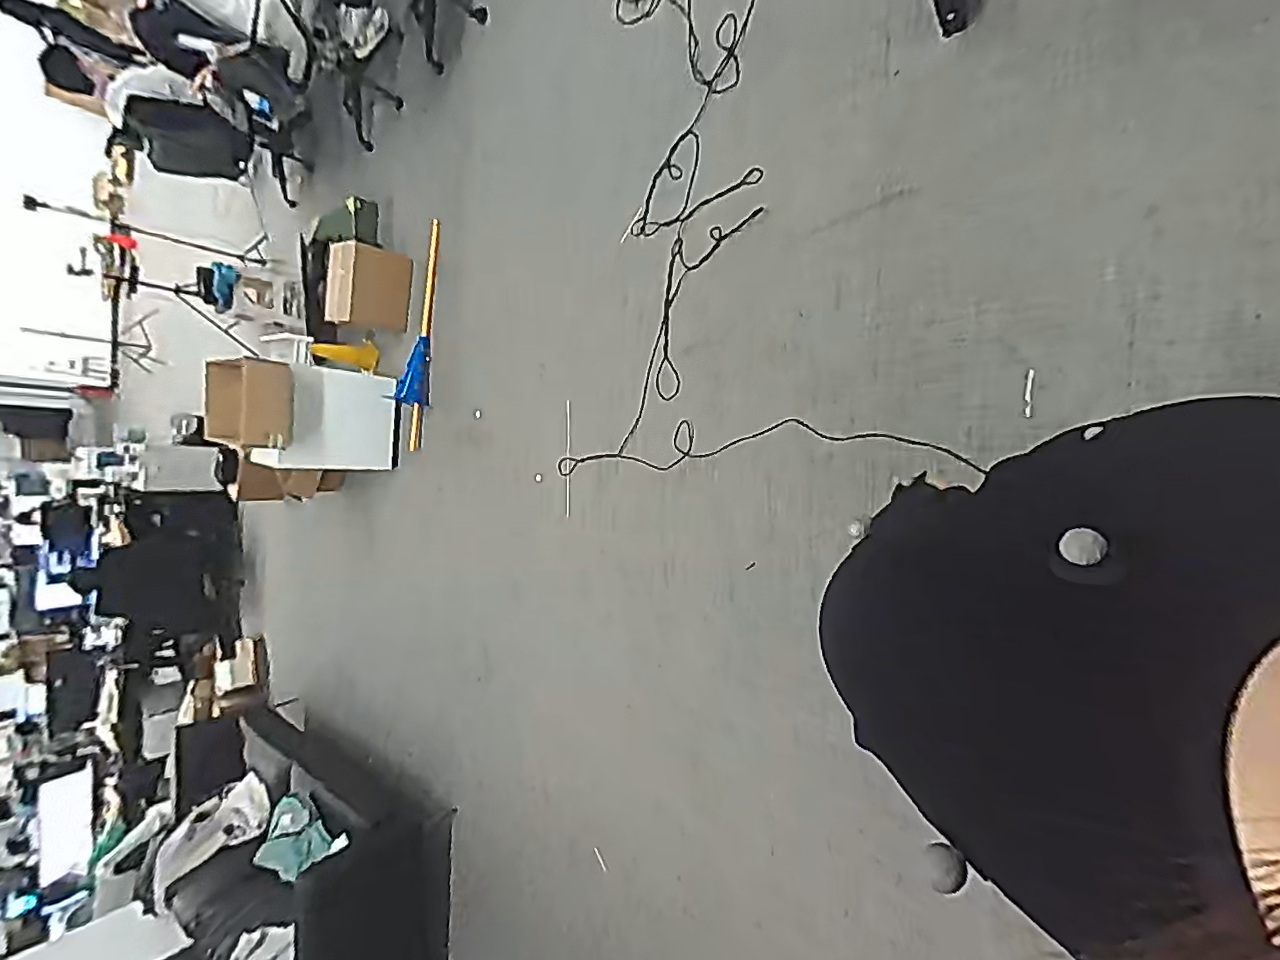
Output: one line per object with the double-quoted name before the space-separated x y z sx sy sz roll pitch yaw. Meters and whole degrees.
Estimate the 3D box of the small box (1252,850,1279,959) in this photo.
"small box" 1.167 0.770 0.899 0.168 0.176 0.179 8 94 39
